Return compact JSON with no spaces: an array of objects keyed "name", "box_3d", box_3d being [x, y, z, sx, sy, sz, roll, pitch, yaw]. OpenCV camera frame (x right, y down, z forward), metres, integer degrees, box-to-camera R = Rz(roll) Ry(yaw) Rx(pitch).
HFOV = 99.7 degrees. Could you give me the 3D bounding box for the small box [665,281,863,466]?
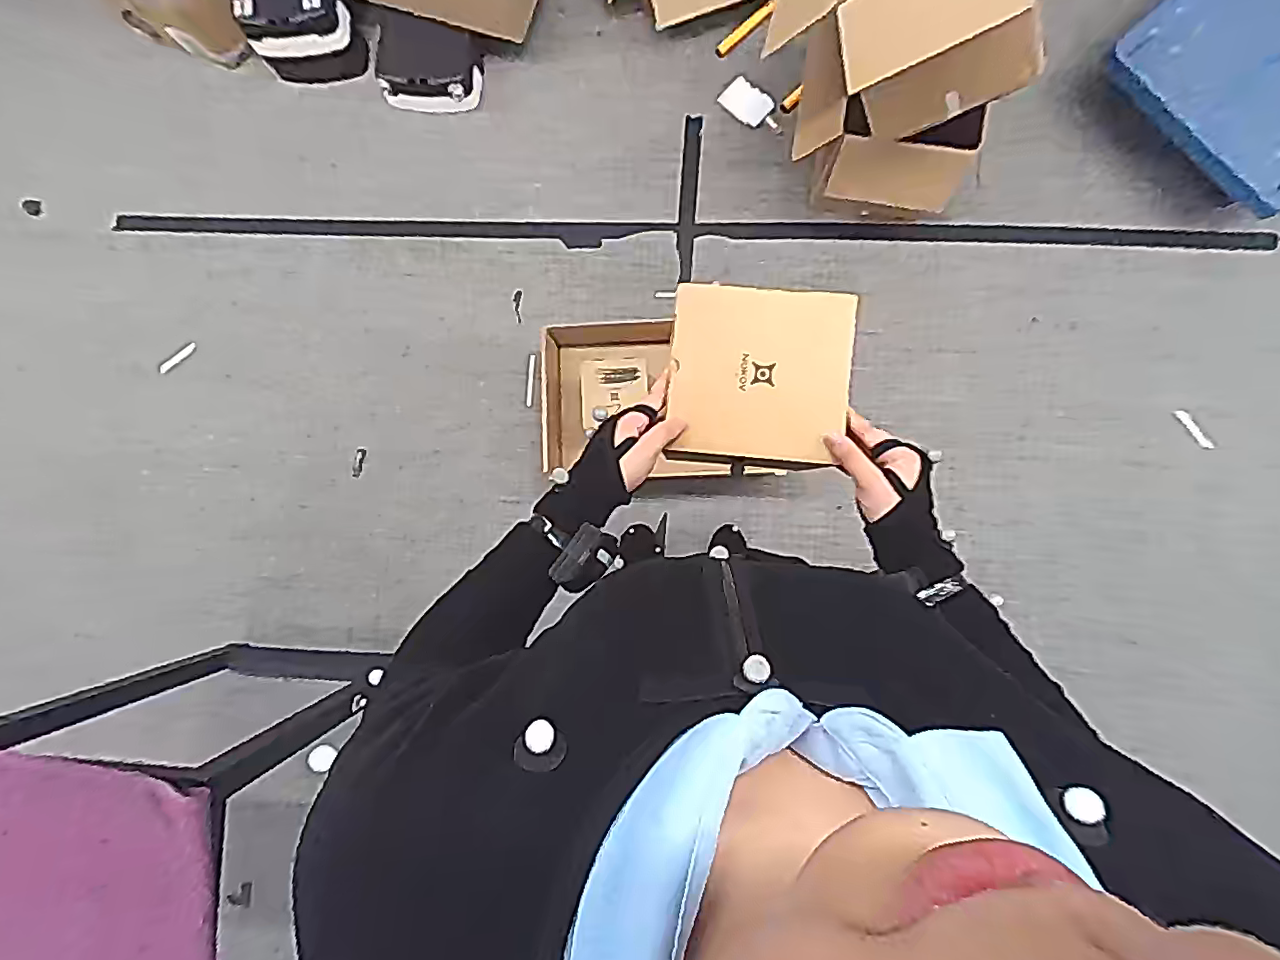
[{"name":"small box","box_3d":[0.124,-0.105,0.598,0.179,0.176,0.168,5,91,5]}]
